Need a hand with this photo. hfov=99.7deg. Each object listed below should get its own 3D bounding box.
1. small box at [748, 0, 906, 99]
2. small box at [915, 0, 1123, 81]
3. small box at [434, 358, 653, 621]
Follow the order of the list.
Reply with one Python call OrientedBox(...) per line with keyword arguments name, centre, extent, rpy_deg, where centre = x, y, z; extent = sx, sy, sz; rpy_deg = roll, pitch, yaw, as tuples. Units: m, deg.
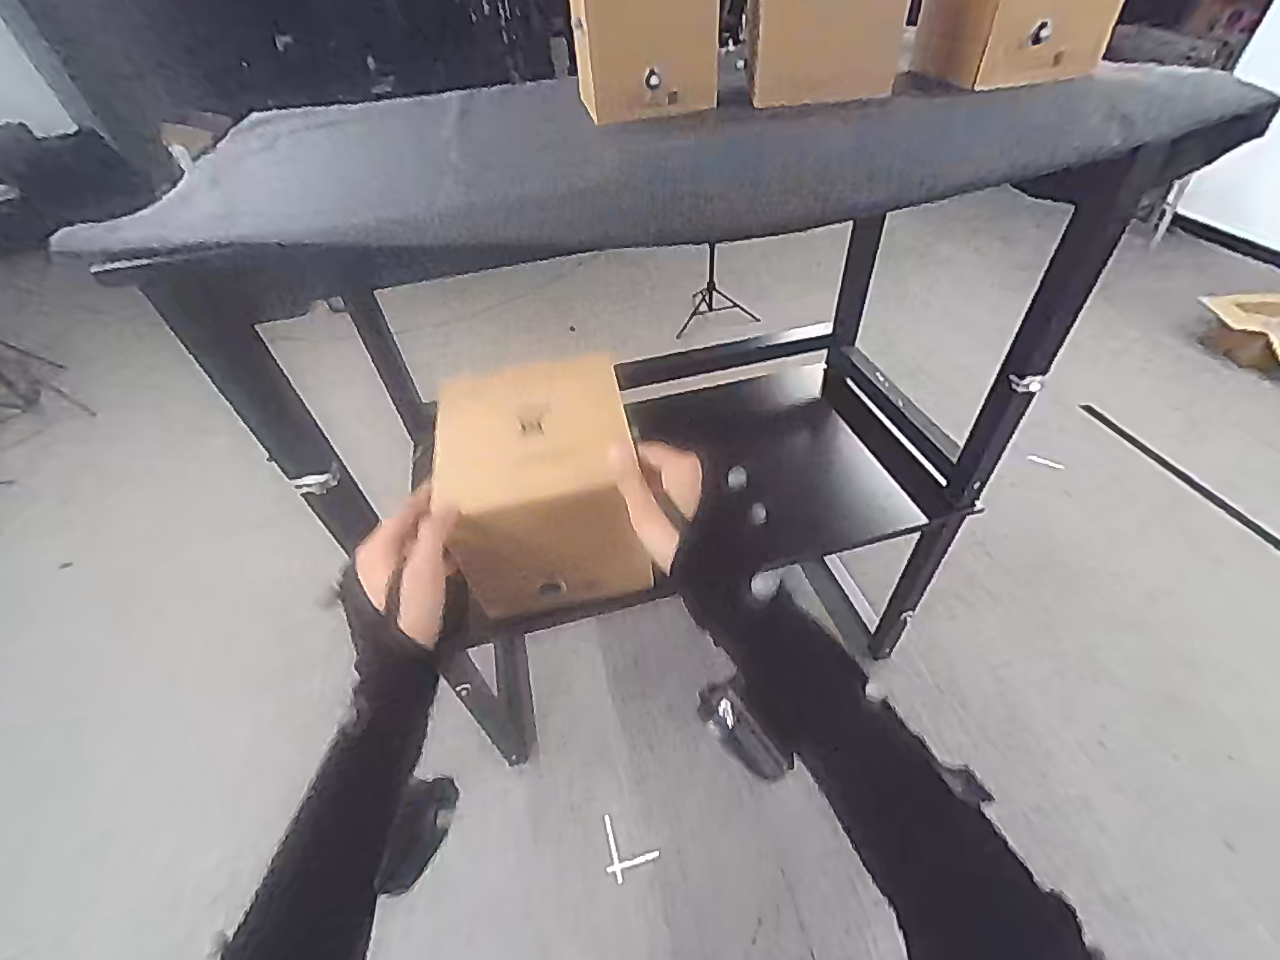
OrientedBox(name="small box", centre=(0.235, -0.610, 0.698), extent=(0.179, 0.176, 0.168), rpy_deg=(-1, 46, 4))
OrientedBox(name="small box", centre=(0.486, -0.629, 0.691), extent=(0.168, 0.176, 0.179), rpy_deg=(-9, 46, -3))
OrientedBox(name="small box", centre=(-0.084, 0.009, 0.525), extent=(0.168, 0.176, 0.179), rpy_deg=(-11, 48, -4))
